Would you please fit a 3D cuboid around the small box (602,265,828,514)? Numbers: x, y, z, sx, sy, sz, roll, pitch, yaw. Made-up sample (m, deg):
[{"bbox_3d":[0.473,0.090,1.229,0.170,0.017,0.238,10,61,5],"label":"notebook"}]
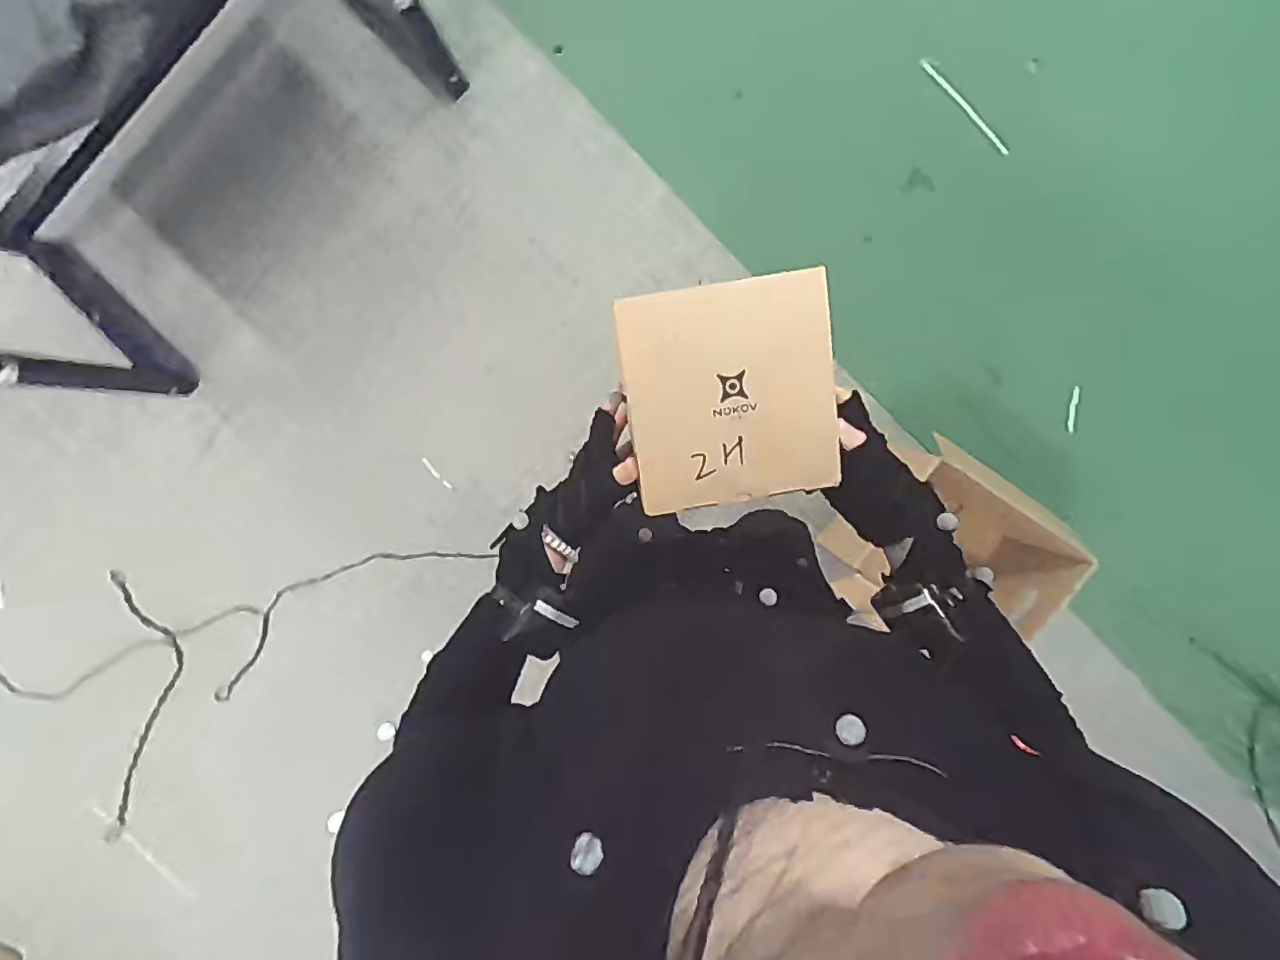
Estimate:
[{"bbox_3d":[0.057,-0.083,0.503,0.168,0.176,0.179,-10,103,-1],"label":"small box"}]
